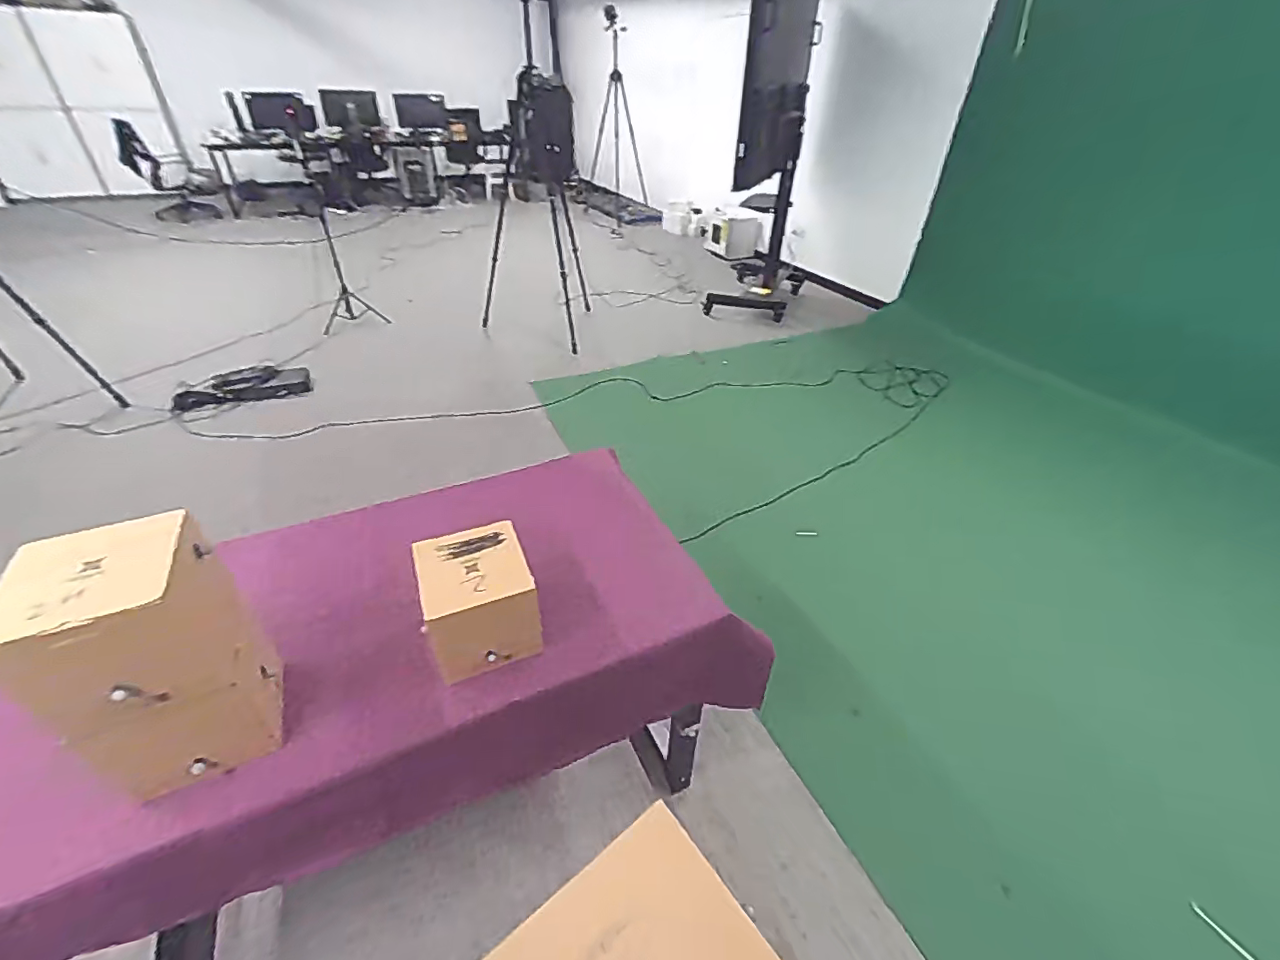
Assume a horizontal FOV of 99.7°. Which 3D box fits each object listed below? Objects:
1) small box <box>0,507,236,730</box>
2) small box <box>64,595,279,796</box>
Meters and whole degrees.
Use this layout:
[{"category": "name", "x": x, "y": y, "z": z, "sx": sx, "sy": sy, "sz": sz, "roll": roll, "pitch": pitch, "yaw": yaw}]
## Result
[{"category": "small box", "x": -0.630, "y": 0.165, "z": 0.667, "sx": 0.168, "sy": 0.176, "sz": 0.179, "roll": -16, "pitch": 41, "yaw": -21}, {"category": "small box", "x": -0.633, "y": 0.300, "z": 0.764, "sx": 0.179, "sy": 0.176, "sz": 0.168, "roll": -16, "pitch": 41, "yaw": -23}]
